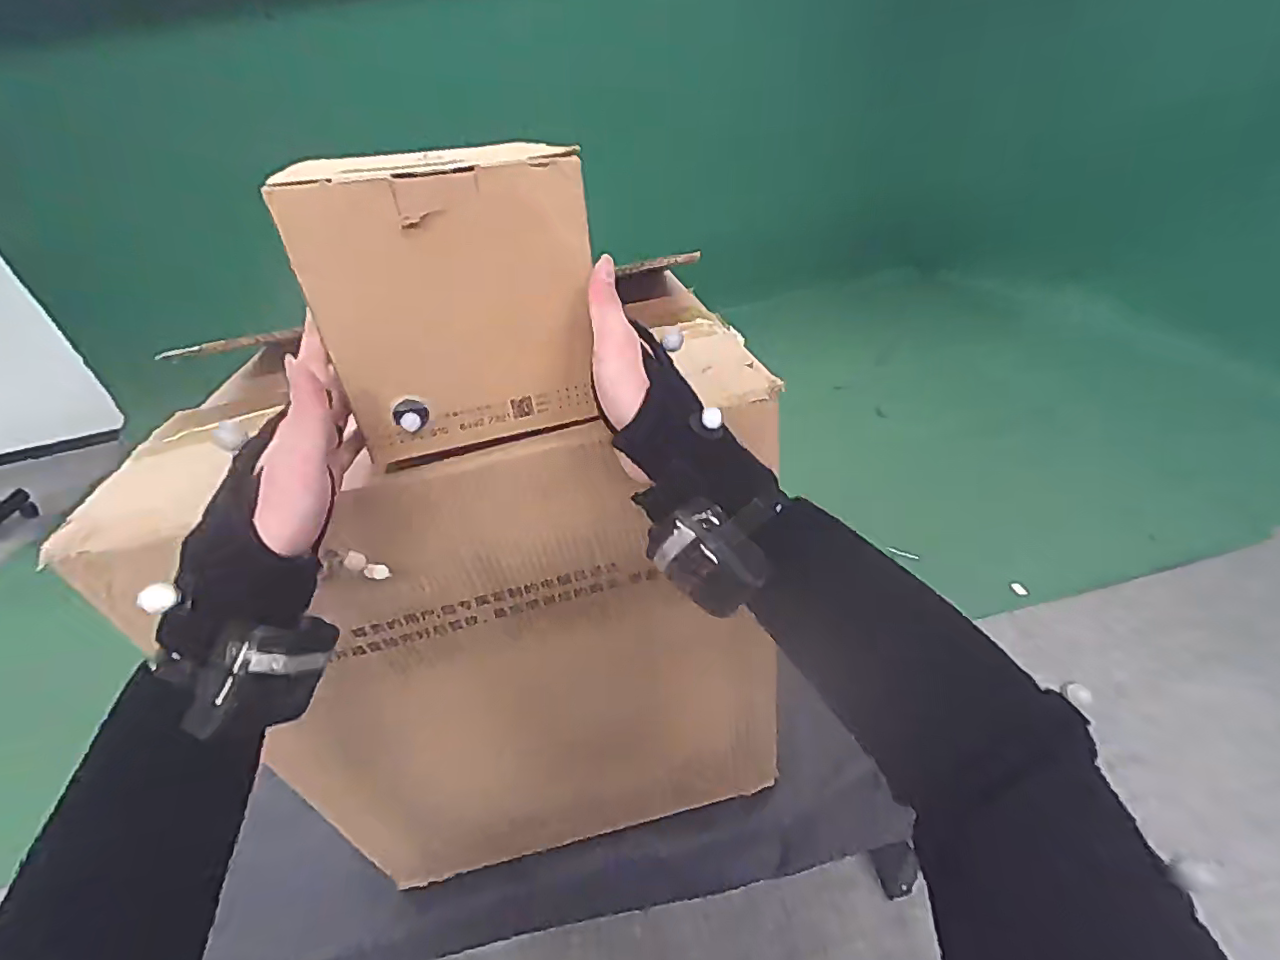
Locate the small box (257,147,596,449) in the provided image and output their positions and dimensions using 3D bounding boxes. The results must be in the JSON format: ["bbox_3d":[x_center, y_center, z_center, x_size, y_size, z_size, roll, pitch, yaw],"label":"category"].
[{"bbox_3d":[-0.137,-0.135,0.396,0.168,0.176,0.179,-14,35,-15],"label":"small box"}]
